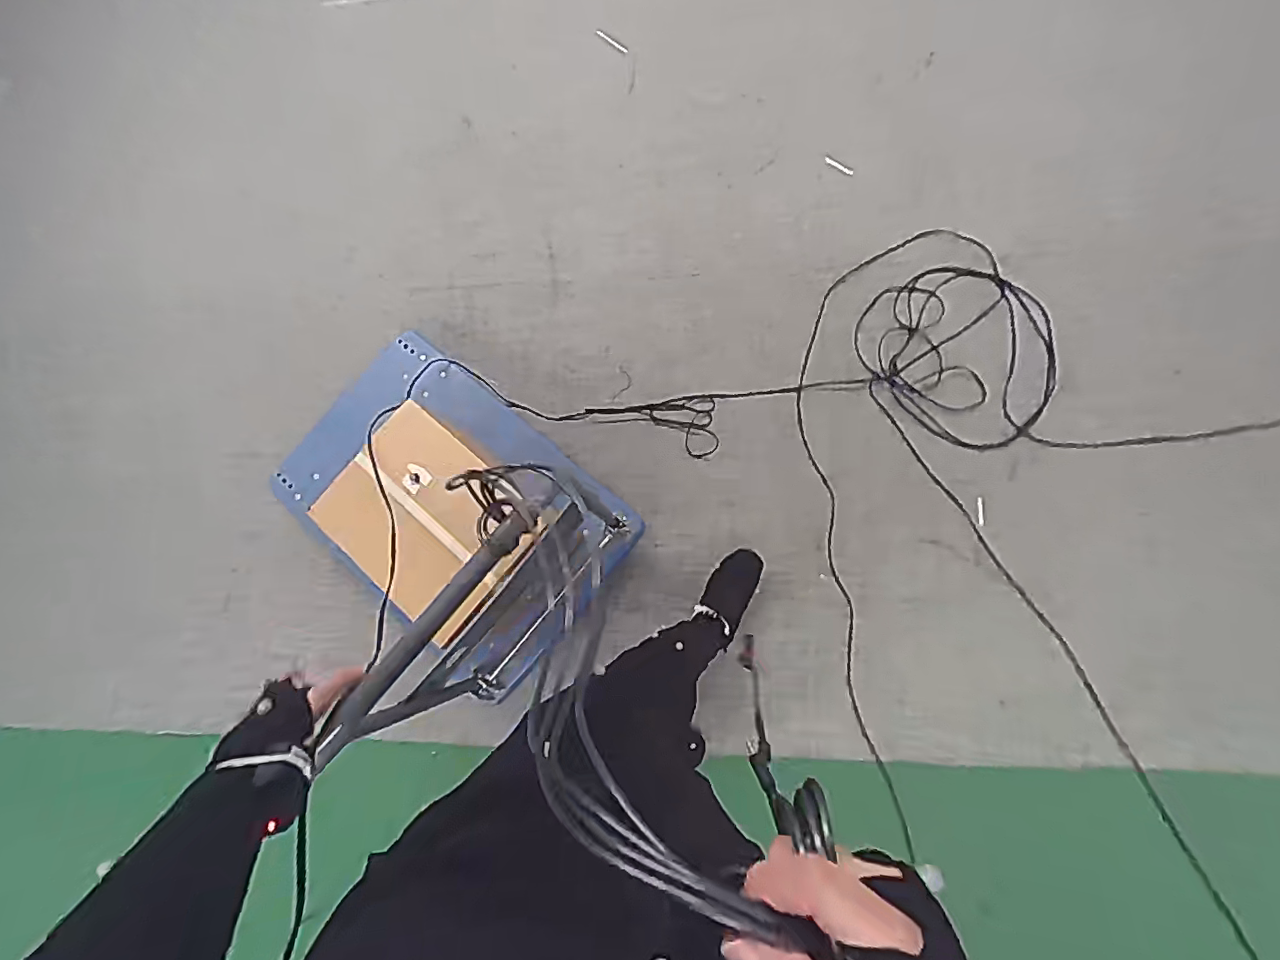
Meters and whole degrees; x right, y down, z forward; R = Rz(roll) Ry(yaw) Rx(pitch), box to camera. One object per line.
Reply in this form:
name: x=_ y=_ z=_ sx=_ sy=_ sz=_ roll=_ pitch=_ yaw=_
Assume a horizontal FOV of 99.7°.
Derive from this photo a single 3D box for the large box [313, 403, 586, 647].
large box: x=-0.388 y=0.105 z=1.188 sx=0.408 sy=0.320 sz=0.320 roll=39 pitch=85 yaw=13
